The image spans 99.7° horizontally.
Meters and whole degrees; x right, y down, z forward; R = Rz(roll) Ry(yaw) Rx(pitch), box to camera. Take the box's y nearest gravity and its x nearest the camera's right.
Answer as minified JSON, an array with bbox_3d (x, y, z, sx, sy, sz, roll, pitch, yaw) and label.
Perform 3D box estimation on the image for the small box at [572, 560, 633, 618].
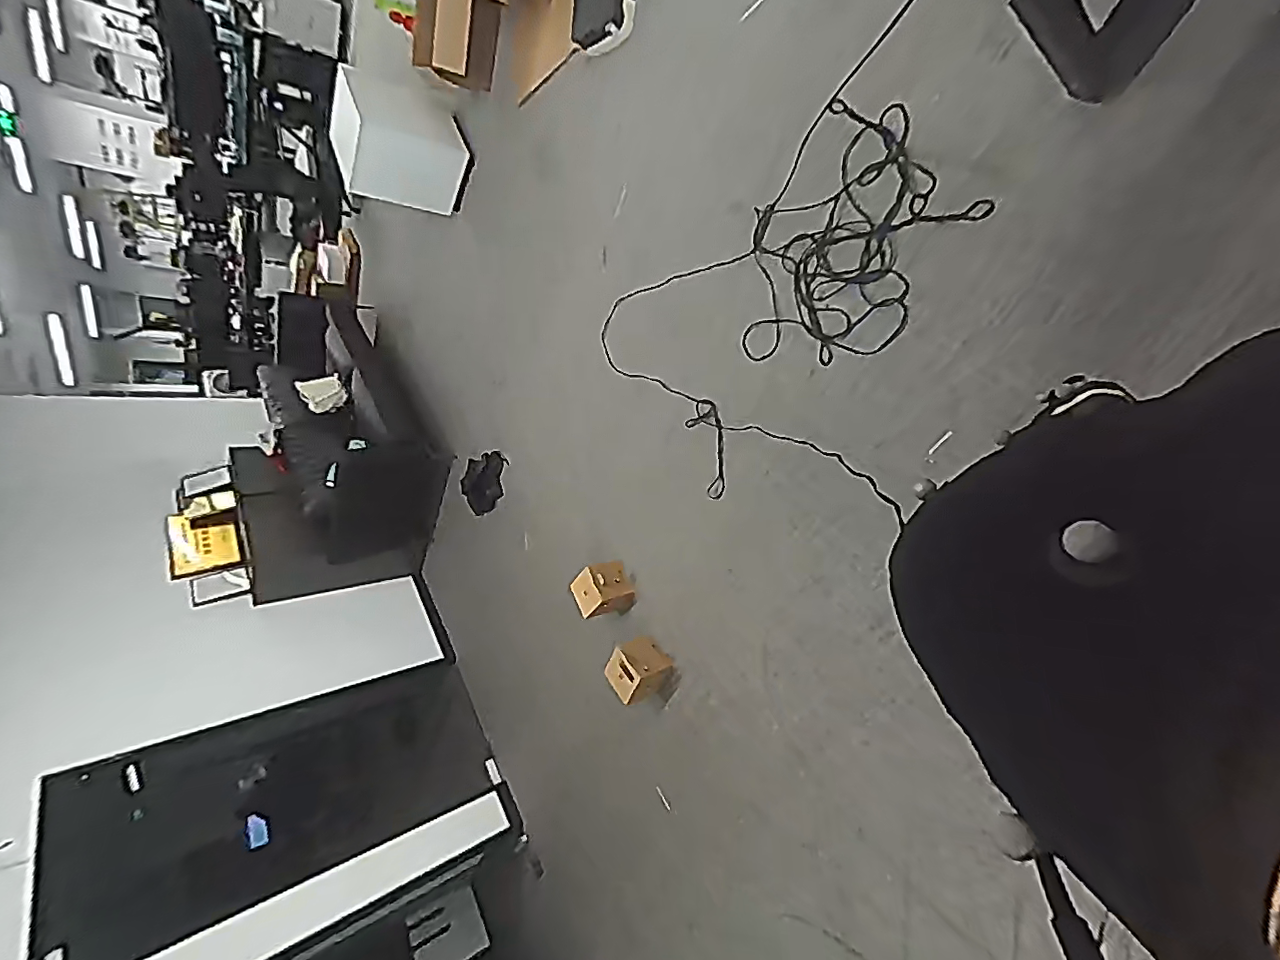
[{"bbox_3d":[-0.157,0.457,2.280,0.179,0.176,0.168,-52,57,40],"label":"small box"}]
